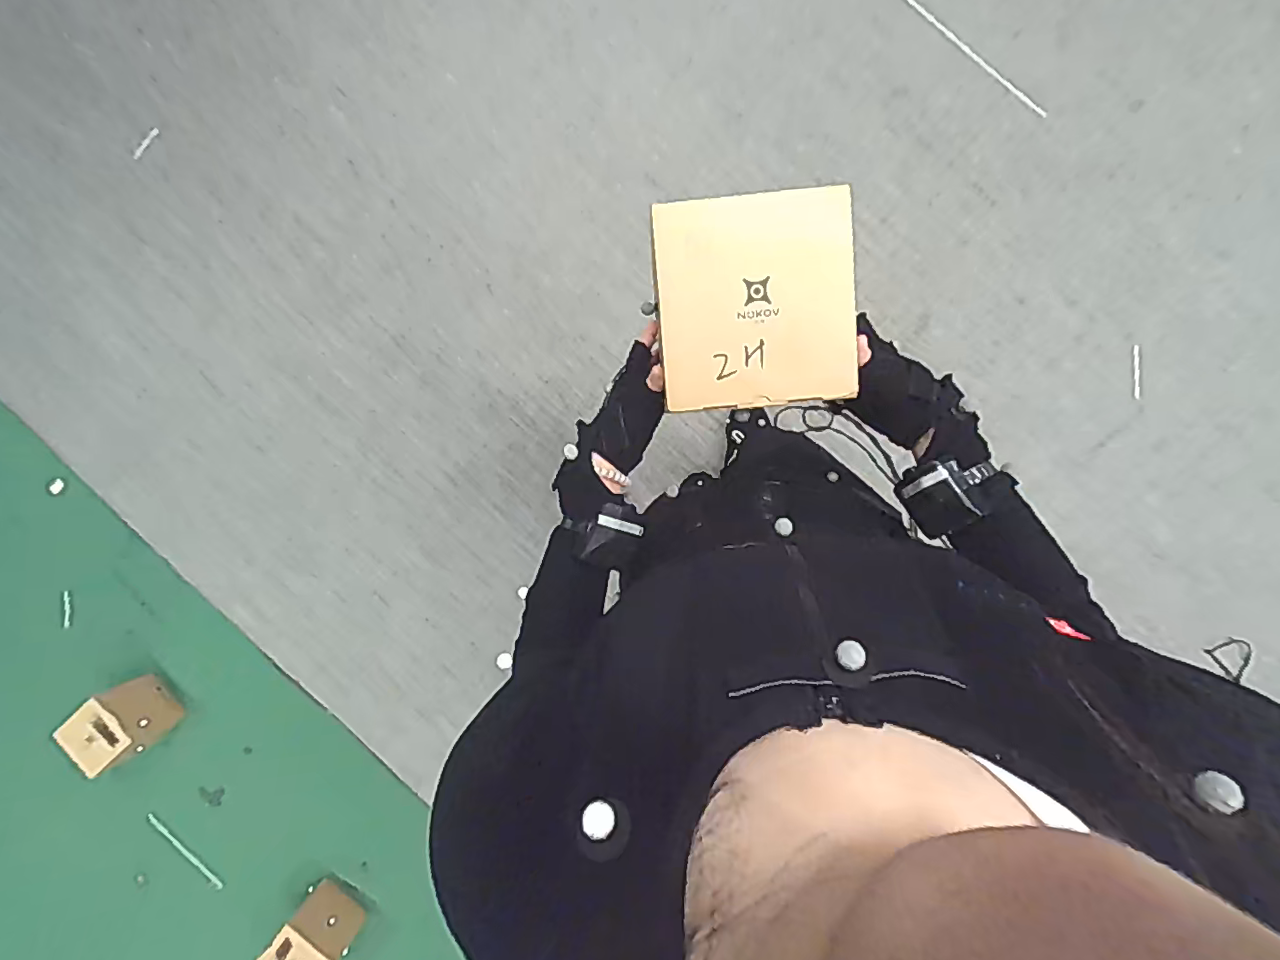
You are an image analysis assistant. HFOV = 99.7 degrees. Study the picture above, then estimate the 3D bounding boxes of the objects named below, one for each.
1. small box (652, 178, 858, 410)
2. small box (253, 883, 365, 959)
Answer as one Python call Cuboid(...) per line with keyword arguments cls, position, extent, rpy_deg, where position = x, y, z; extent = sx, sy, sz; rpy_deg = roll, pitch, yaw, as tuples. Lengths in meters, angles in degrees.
Cuboid(cls="small box", position=(0.098, -0.162, 0.527), extent=(0.168, 0.176, 0.179), rpy_deg=(-5, 97, 3))
Cuboid(cls="small box", position=(-0.935, 1.301, 1.536), extent=(0.179, 0.176, 0.168), rpy_deg=(40, 95, 0))
